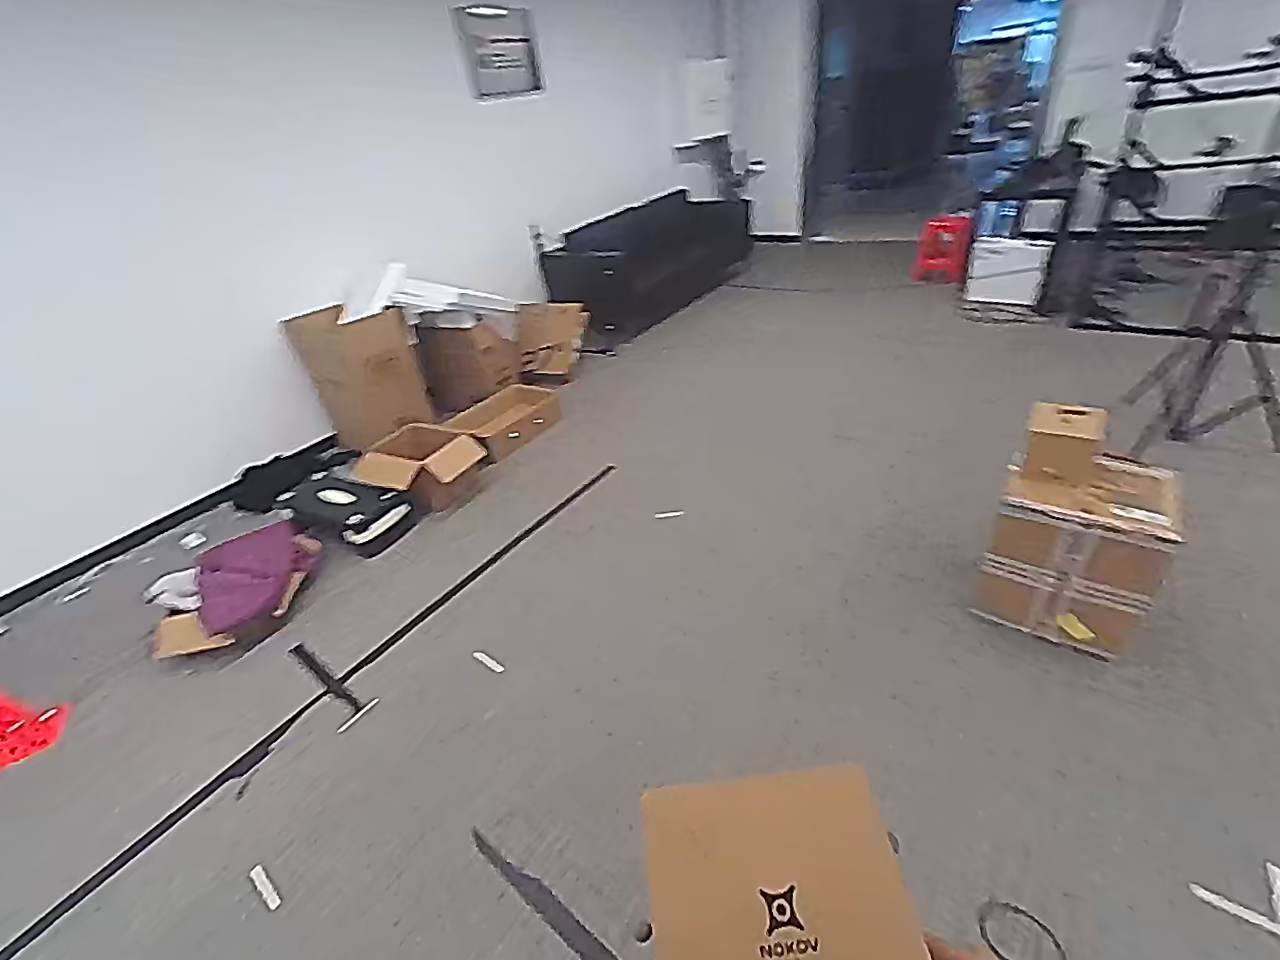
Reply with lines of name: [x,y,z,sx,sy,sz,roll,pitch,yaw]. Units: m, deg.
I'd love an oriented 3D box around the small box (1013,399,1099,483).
small box: [1.227,-0.117,1.600,0.168,0.176,0.179,15,44,35]
